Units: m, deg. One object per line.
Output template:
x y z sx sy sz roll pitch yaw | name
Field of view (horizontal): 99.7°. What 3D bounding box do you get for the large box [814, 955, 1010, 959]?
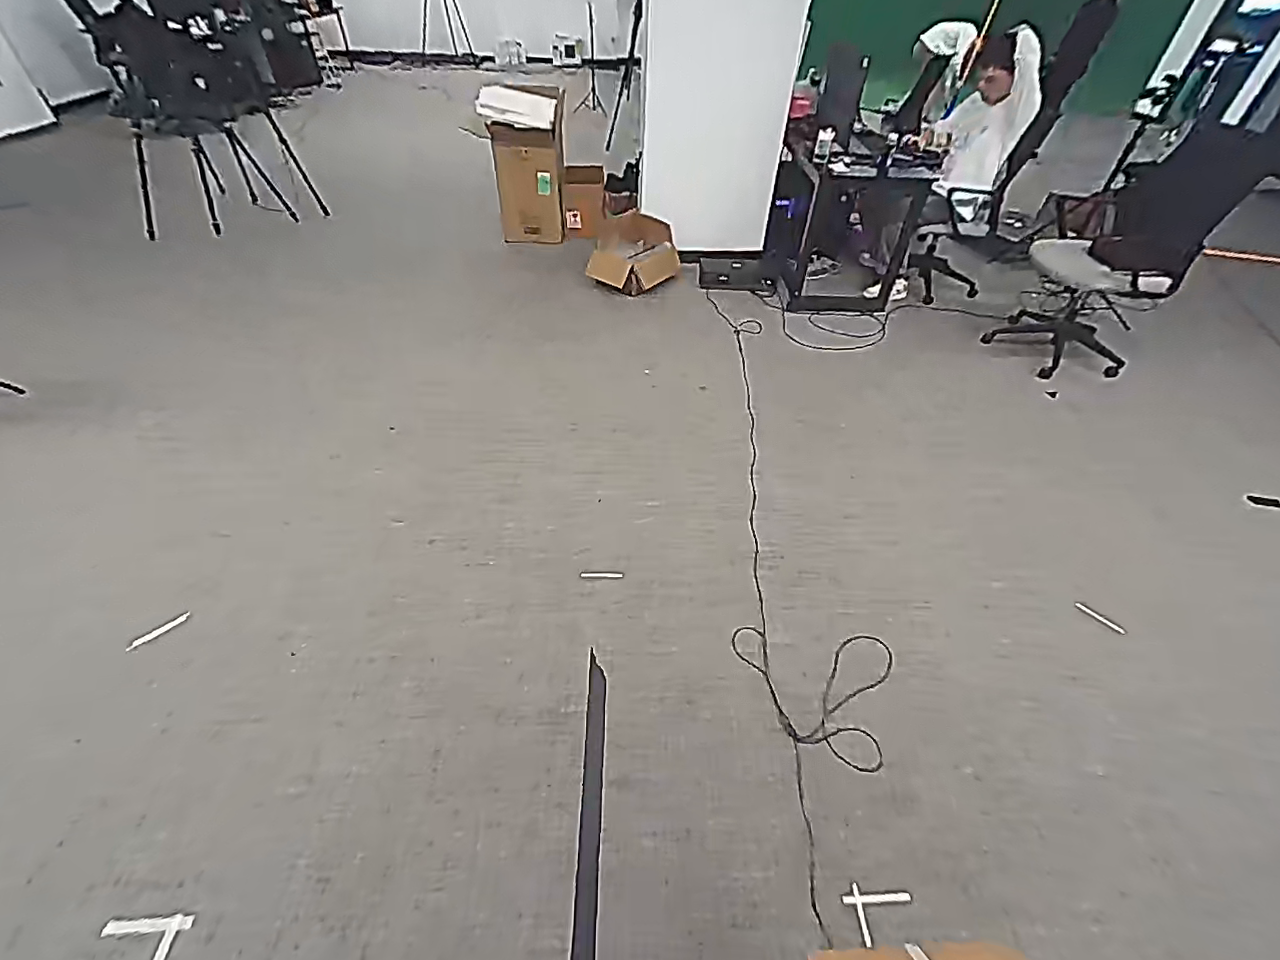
0.399 0.811 0.567 0.320 0.408 0.320 1 81 -3 | large box
